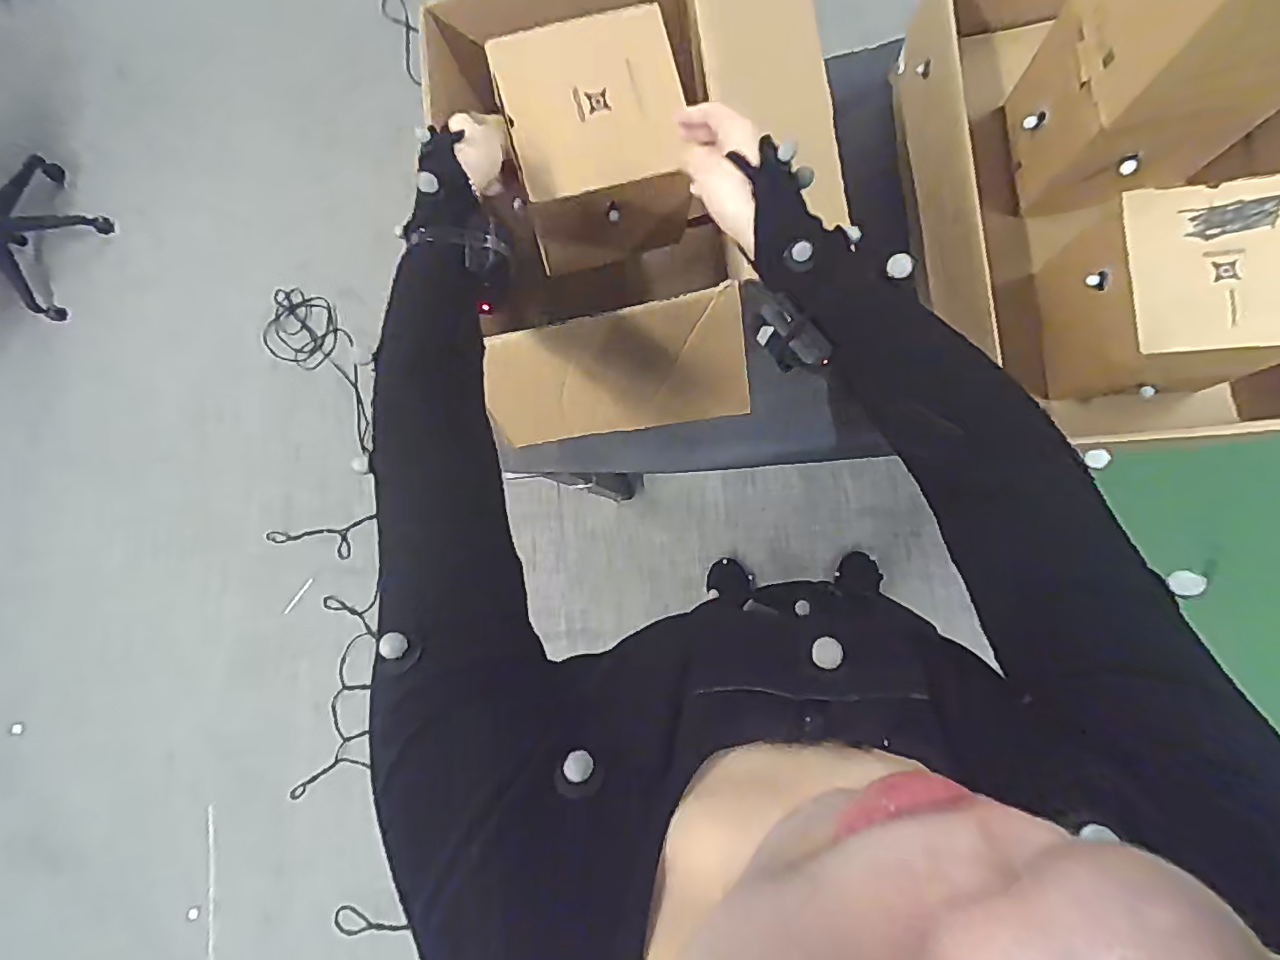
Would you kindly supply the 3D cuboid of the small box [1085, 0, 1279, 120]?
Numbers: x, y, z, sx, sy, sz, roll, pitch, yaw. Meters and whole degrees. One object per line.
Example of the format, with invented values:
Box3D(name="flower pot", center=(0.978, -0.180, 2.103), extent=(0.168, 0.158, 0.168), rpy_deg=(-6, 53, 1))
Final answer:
Box3D(name="small box", center=(0.537, -0.459, 0.477), extent=(0.179, 0.176, 0.168), rpy_deg=(-6, 85, 9))
